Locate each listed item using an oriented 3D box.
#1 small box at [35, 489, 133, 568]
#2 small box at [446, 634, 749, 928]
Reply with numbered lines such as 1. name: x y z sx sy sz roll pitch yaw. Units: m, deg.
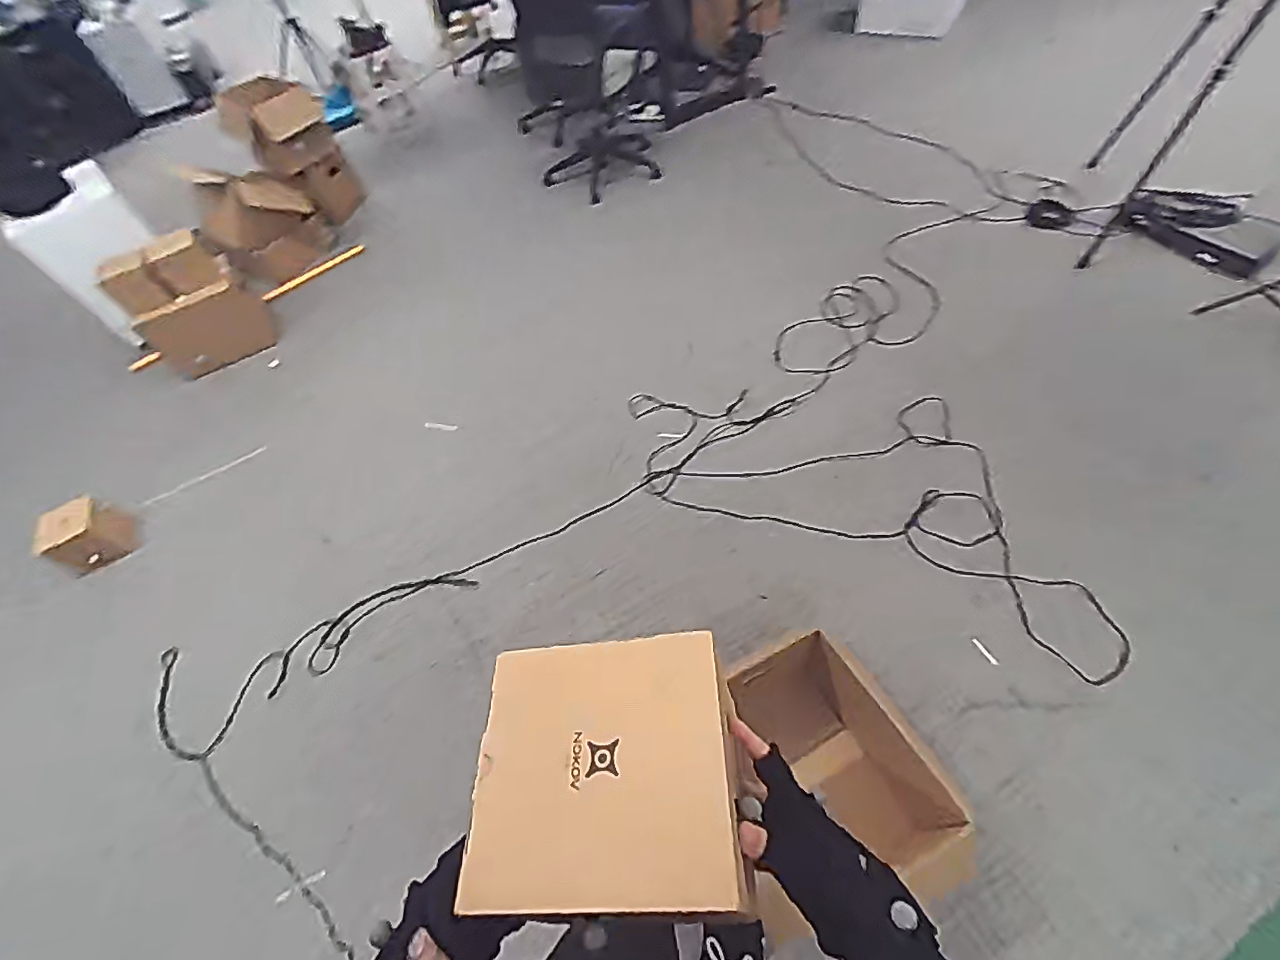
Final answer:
1. small box: -1.900 0.169 1.859 0.168 0.176 0.179 -29 56 -11
2. small box: -0.015 0.237 0.418 0.179 0.176 0.168 -10 49 10
